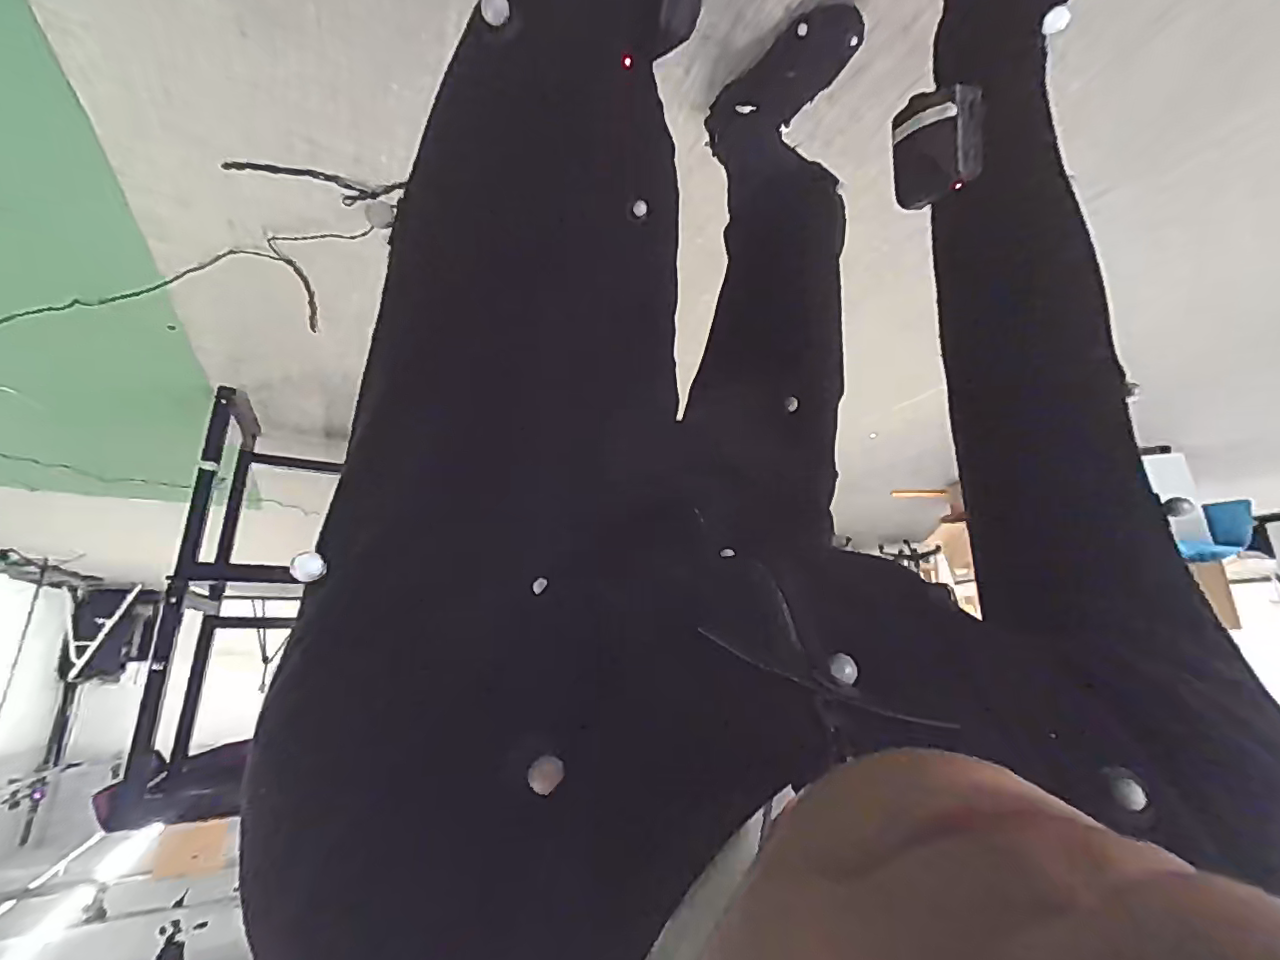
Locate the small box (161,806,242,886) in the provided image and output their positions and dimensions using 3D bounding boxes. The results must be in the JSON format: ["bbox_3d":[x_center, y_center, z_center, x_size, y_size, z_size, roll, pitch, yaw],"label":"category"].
[{"bbox_3d":[-1.419,1.181,1.764,0.179,0.176,0.168,9,159,-30],"label":"small box"}]
